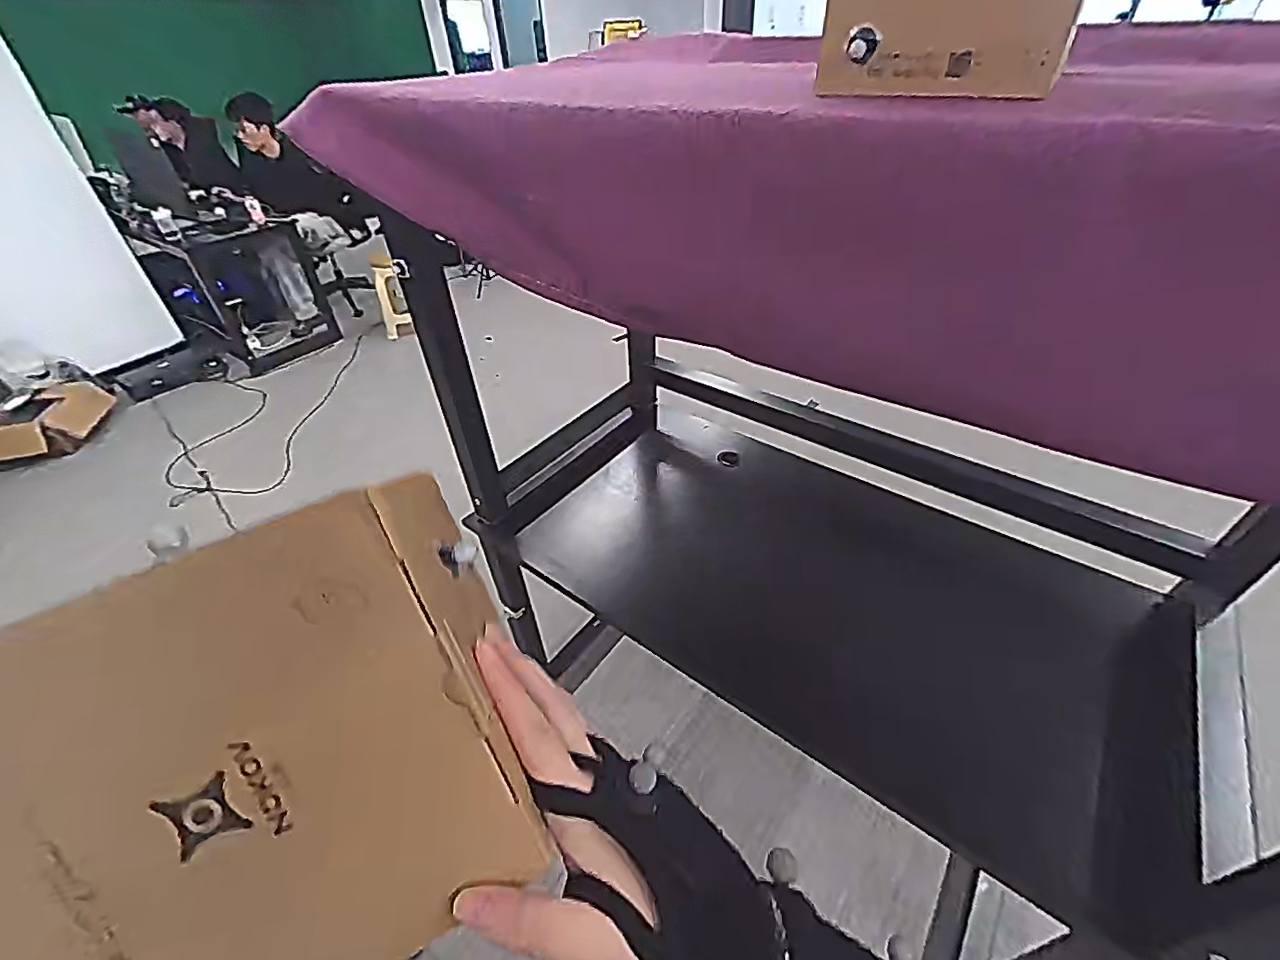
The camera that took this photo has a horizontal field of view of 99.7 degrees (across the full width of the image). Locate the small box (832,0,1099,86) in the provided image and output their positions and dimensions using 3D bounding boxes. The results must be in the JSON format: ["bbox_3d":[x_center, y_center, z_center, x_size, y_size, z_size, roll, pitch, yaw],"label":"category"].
[{"bbox_3d":[0.254,-0.397,0.395,0.168,0.176,0.179,21,45,26],"label":"small box"}]
